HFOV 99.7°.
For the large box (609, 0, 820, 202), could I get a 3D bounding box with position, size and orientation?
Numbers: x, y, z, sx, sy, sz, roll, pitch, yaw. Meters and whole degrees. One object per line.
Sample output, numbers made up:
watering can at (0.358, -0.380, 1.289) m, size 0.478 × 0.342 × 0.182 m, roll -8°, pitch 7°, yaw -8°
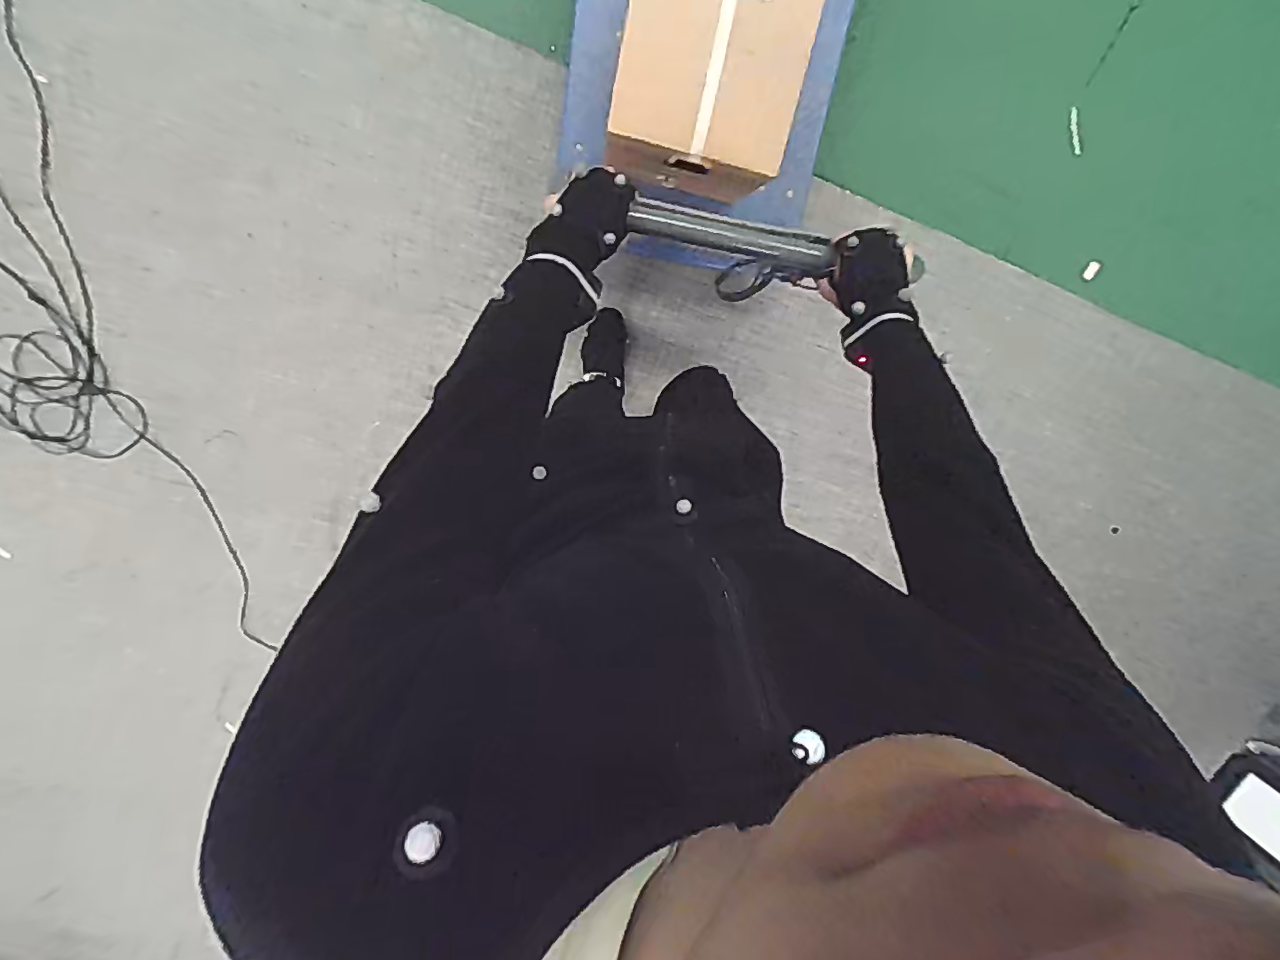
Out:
large box at (0.123, -0.800, 1.029) m, size 0.320 × 0.320 × 0.408 m, roll 10°, pitch 107°, yaw -9°
